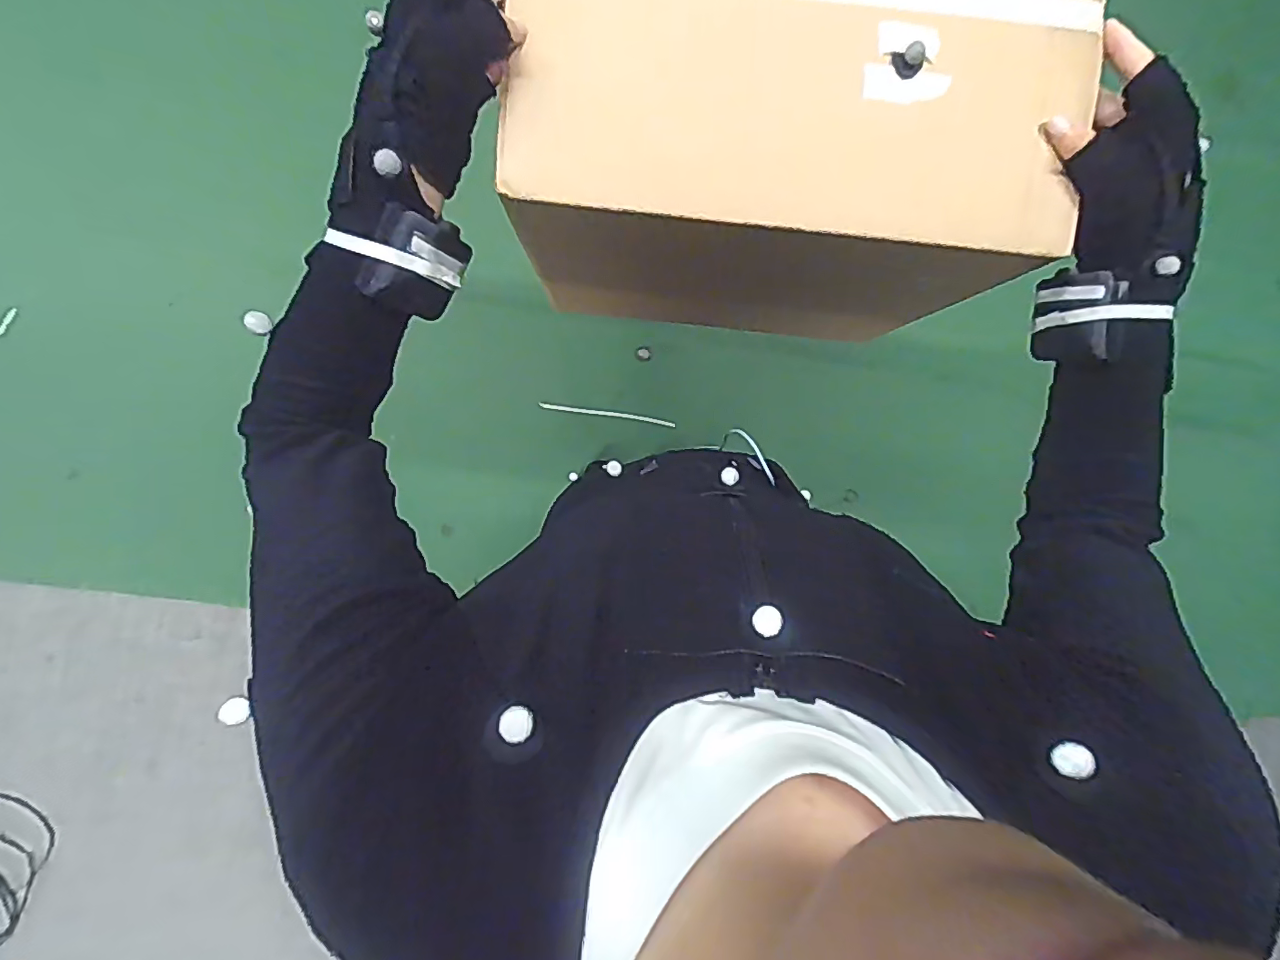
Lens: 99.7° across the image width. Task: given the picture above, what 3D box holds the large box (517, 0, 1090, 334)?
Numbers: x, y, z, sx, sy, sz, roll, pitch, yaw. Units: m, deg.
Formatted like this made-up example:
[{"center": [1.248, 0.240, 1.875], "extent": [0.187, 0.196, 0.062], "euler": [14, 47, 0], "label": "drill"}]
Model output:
[{"center": [0.111, -0.342, 0.525], "extent": [0.408, 0.320, 0.320], "euler": [5, 93, -4], "label": "large box"}]
